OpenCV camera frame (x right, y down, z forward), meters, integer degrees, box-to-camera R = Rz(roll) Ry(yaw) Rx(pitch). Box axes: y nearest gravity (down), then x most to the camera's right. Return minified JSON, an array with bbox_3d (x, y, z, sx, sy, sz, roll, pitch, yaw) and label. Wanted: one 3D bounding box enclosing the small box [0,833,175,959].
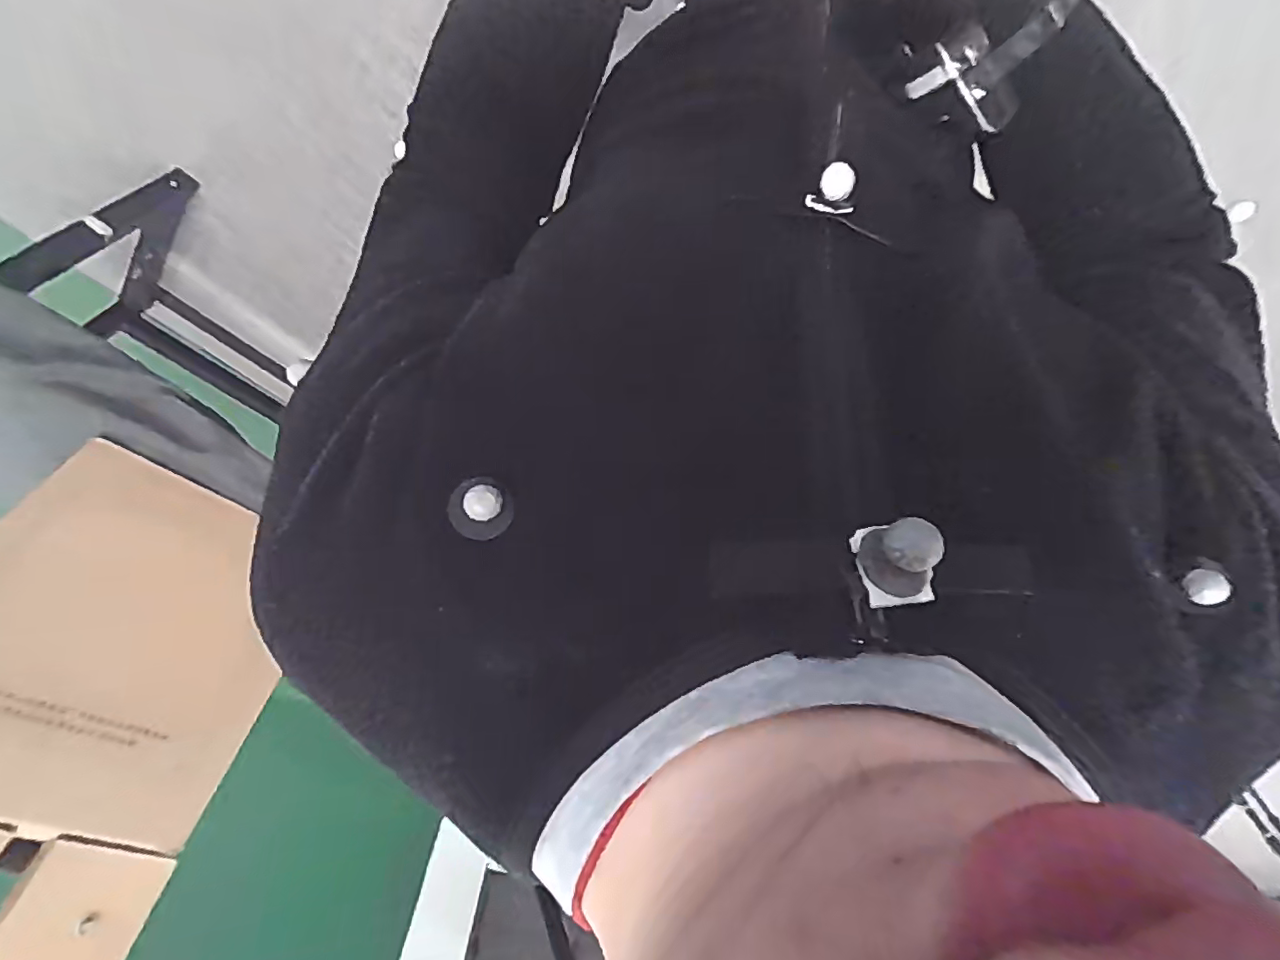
[{"bbox_3d":[-0.930,0.699,0.895,0.168,0.176,0.179,-29,128,33],"label":"small box"}]
